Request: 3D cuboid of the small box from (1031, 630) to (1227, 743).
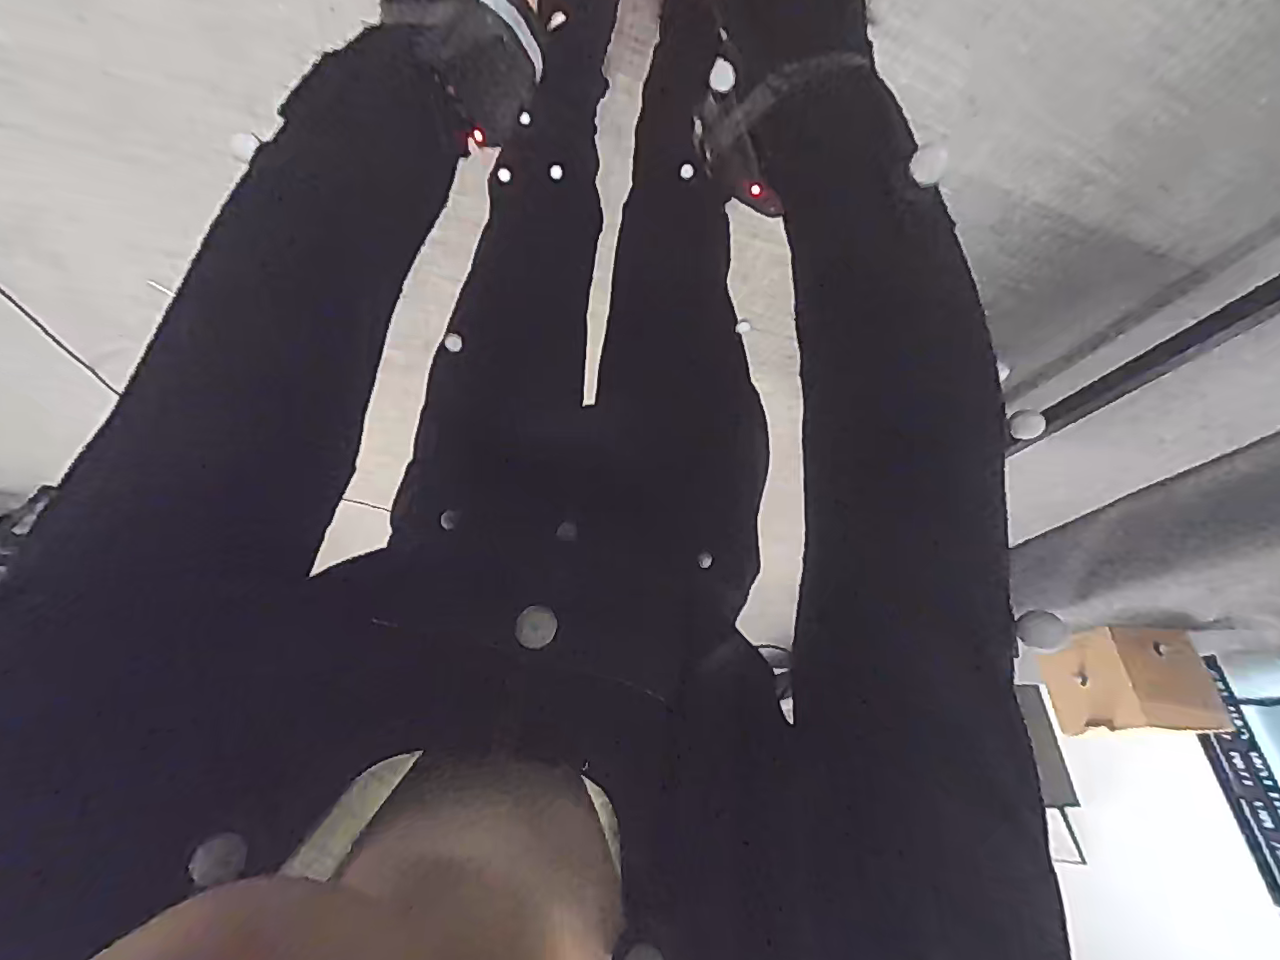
[{"bbox_3d":[0.865,0.375,0.980,0.179,0.176,0.168,6,150,-10],"label":"small box"}]
